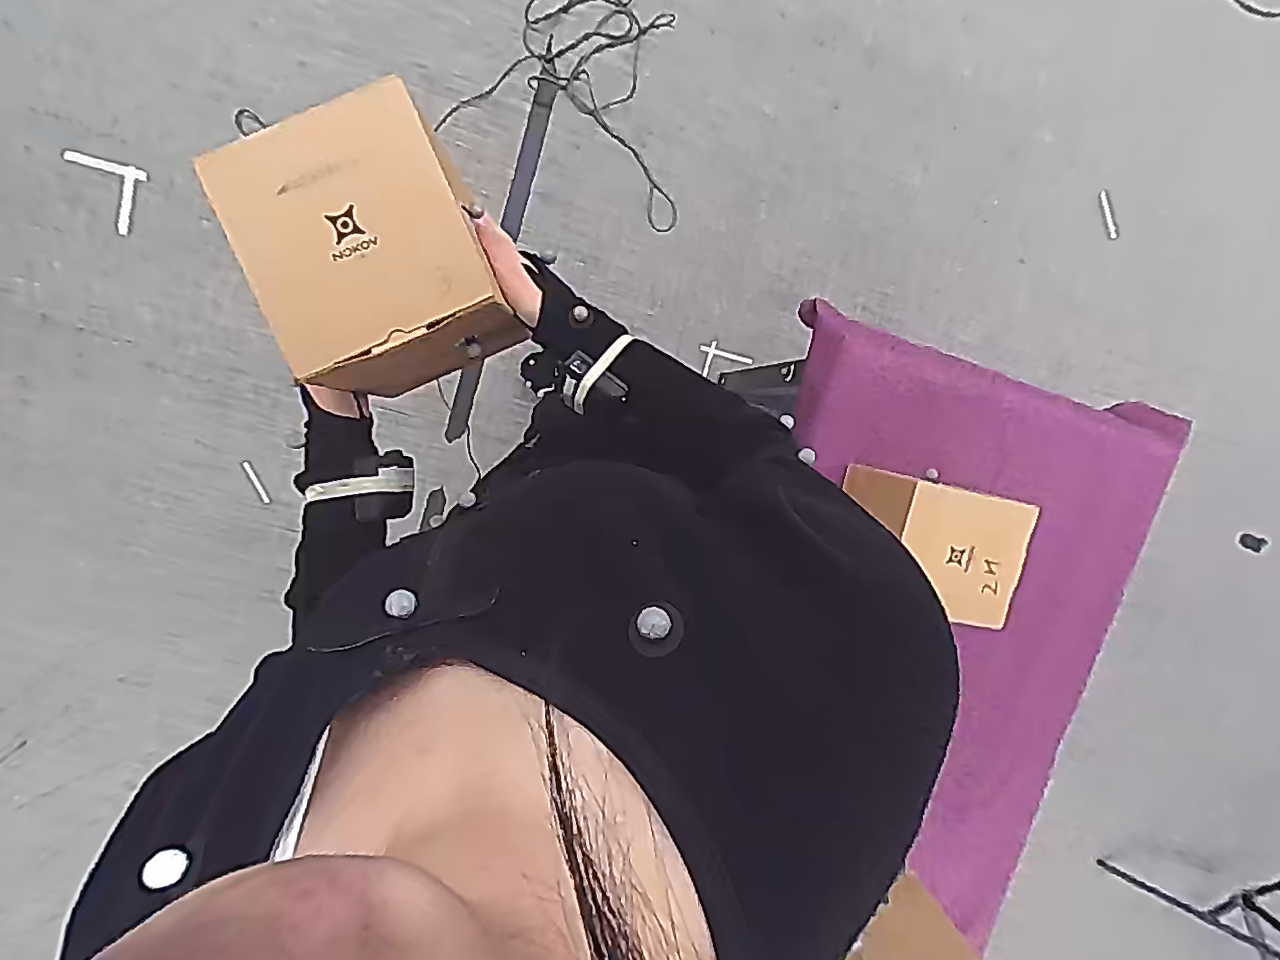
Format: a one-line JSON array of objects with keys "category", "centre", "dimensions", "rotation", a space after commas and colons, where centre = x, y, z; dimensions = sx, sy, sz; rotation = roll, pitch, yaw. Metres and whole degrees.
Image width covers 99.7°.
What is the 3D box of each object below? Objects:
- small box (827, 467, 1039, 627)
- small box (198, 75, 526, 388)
[{"category": "small box", "centre": [0.389, 0.083, 0.751], "dimensions": [0.179, 0.176, 0.168], "rotation": [11, 98, -10]}, {"category": "small box", "centre": [-0.217, -0.191, 0.479], "dimensions": [0.168, 0.176, 0.179], "rotation": [-24, 94, -1]}]
